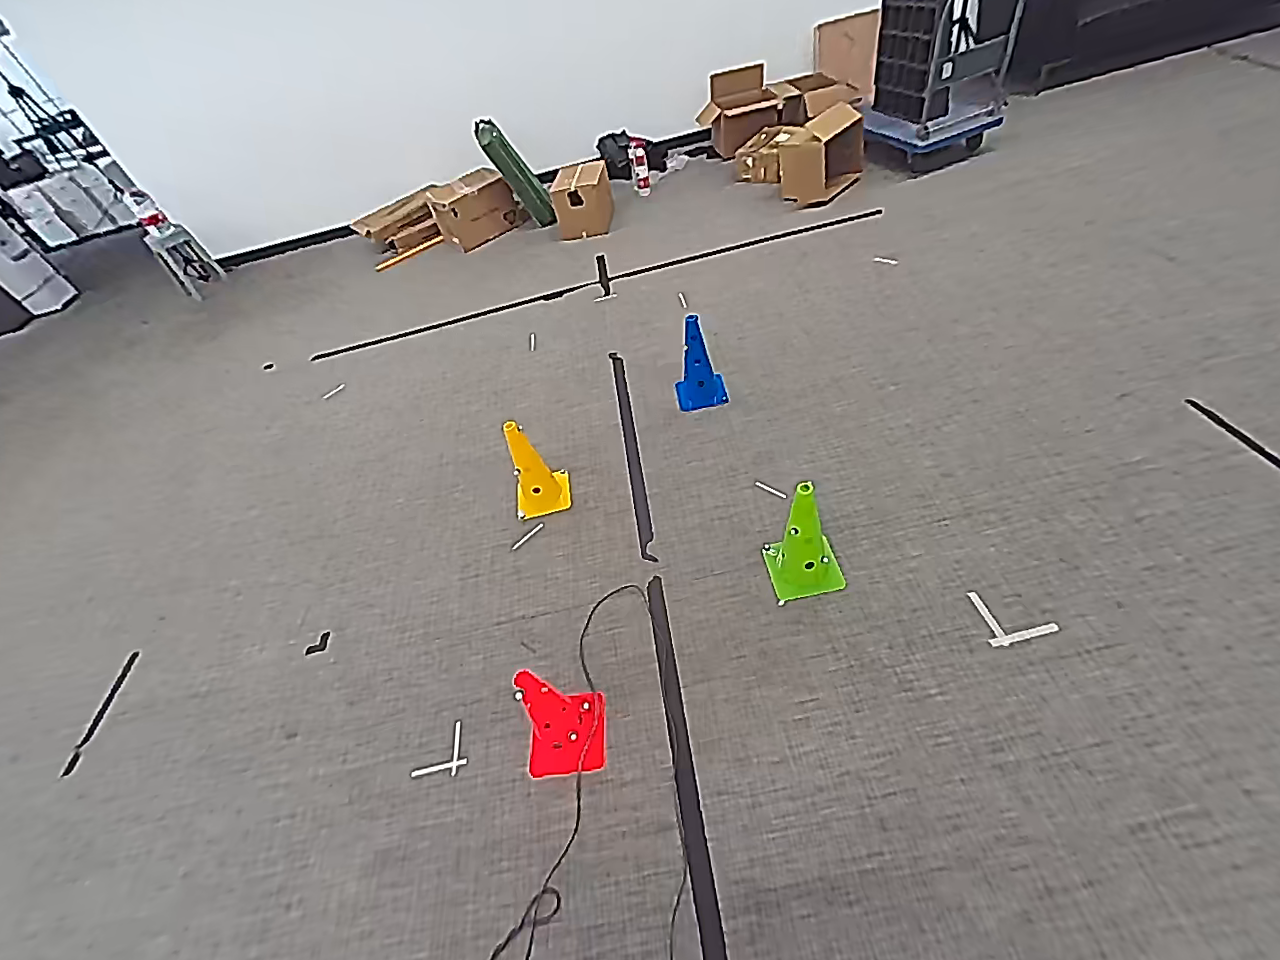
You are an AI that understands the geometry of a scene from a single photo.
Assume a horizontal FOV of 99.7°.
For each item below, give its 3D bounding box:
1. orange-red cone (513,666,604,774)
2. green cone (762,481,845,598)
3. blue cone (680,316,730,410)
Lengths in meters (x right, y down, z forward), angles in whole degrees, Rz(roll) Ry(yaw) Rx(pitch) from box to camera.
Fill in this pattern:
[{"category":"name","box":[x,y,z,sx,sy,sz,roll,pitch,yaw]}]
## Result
[{"category":"orange-red cone","box":[-0.228,0.544,1.300,0.199,0.360,0.198,-10,45,7]},{"category":"green cone","box":[0.453,0.141,1.491,0.202,0.368,0.200,-12,46,2]},{"category":"blue cone","box":[0.238,-0.473,2.141,0.192,0.380,0.193,-9,47,5]}]
